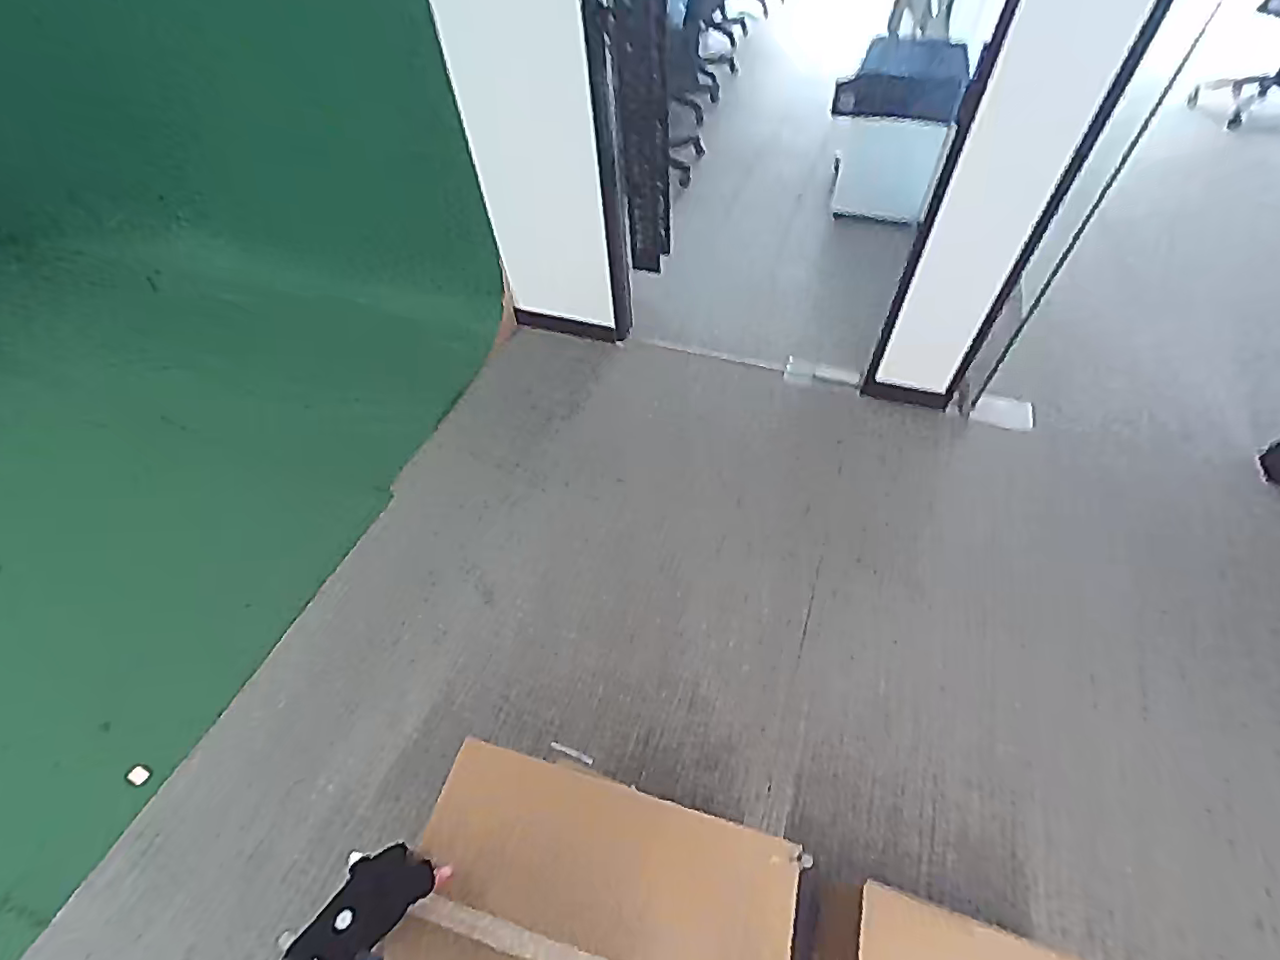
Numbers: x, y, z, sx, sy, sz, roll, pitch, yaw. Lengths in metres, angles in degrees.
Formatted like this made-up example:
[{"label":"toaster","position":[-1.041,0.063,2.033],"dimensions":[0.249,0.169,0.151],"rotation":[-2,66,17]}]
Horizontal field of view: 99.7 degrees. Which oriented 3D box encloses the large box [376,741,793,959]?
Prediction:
[{"label":"large box","position":[-0.060,0.561,0.665],"dimensions":[0.408,0.320,0.320],"rotation":[13,57,9]}]
